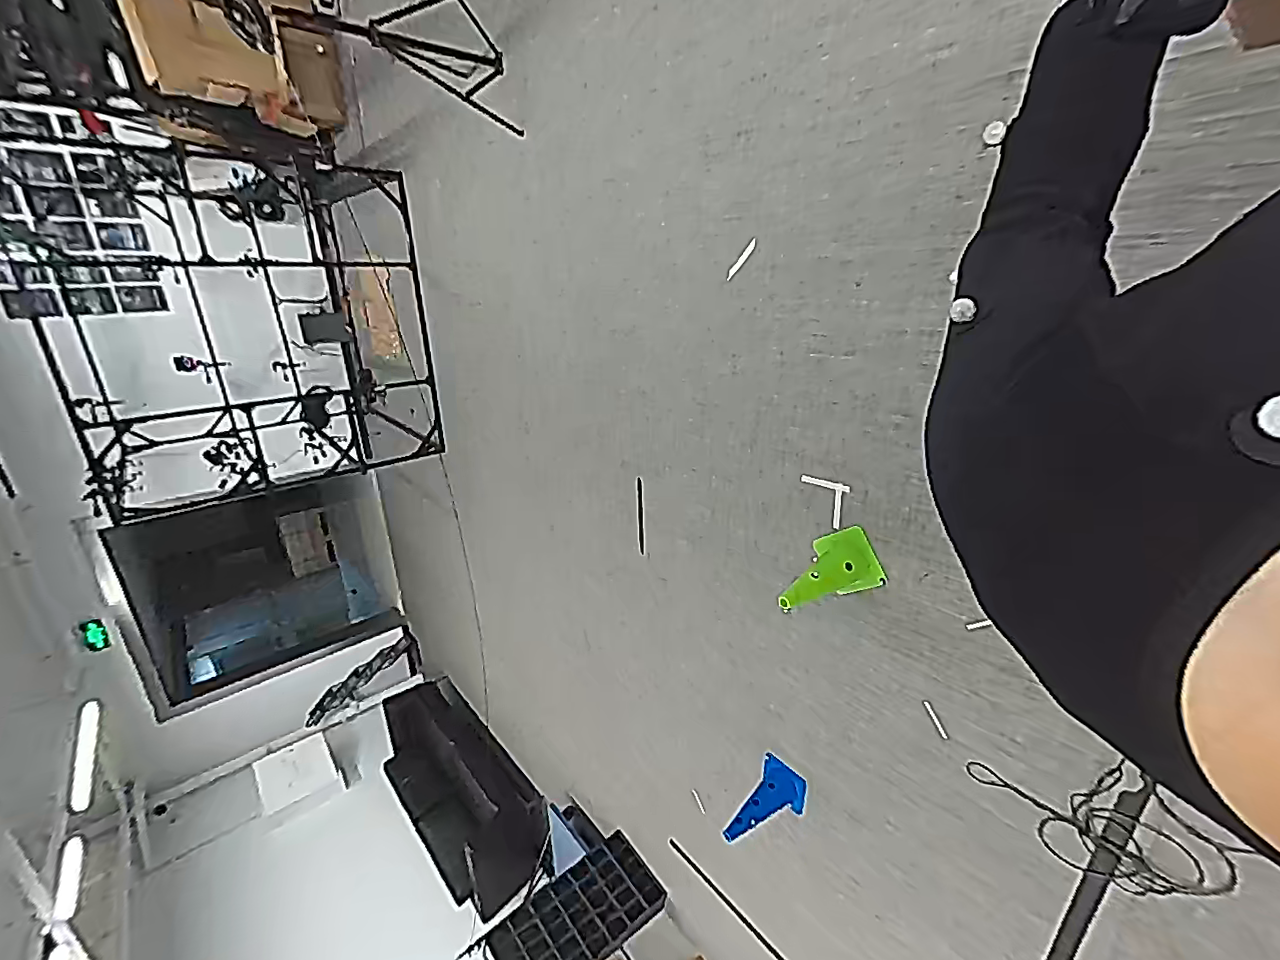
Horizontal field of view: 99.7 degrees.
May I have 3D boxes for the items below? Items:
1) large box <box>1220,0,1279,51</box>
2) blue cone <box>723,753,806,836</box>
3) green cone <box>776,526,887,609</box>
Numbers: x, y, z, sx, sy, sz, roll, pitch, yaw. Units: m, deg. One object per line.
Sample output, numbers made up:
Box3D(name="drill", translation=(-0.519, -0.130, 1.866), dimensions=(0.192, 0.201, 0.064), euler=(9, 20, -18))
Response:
Box3D(name="large box", translation=(0.554, -0.449, 0.215), dimensions=(0.408, 0.320, 0.320), euler=(17, 121, 45))
Box3D(name="blue cone", translation=(0.482, 1.303, 2.167), dimensions=(0.192, 0.380, 0.193), euler=(26, 124, 45))
Box3D(name="green cone", translation=(0.545, 0.300, 1.646), dimensions=(0.202, 0.368, 0.200), euler=(-37, 74, 53))
